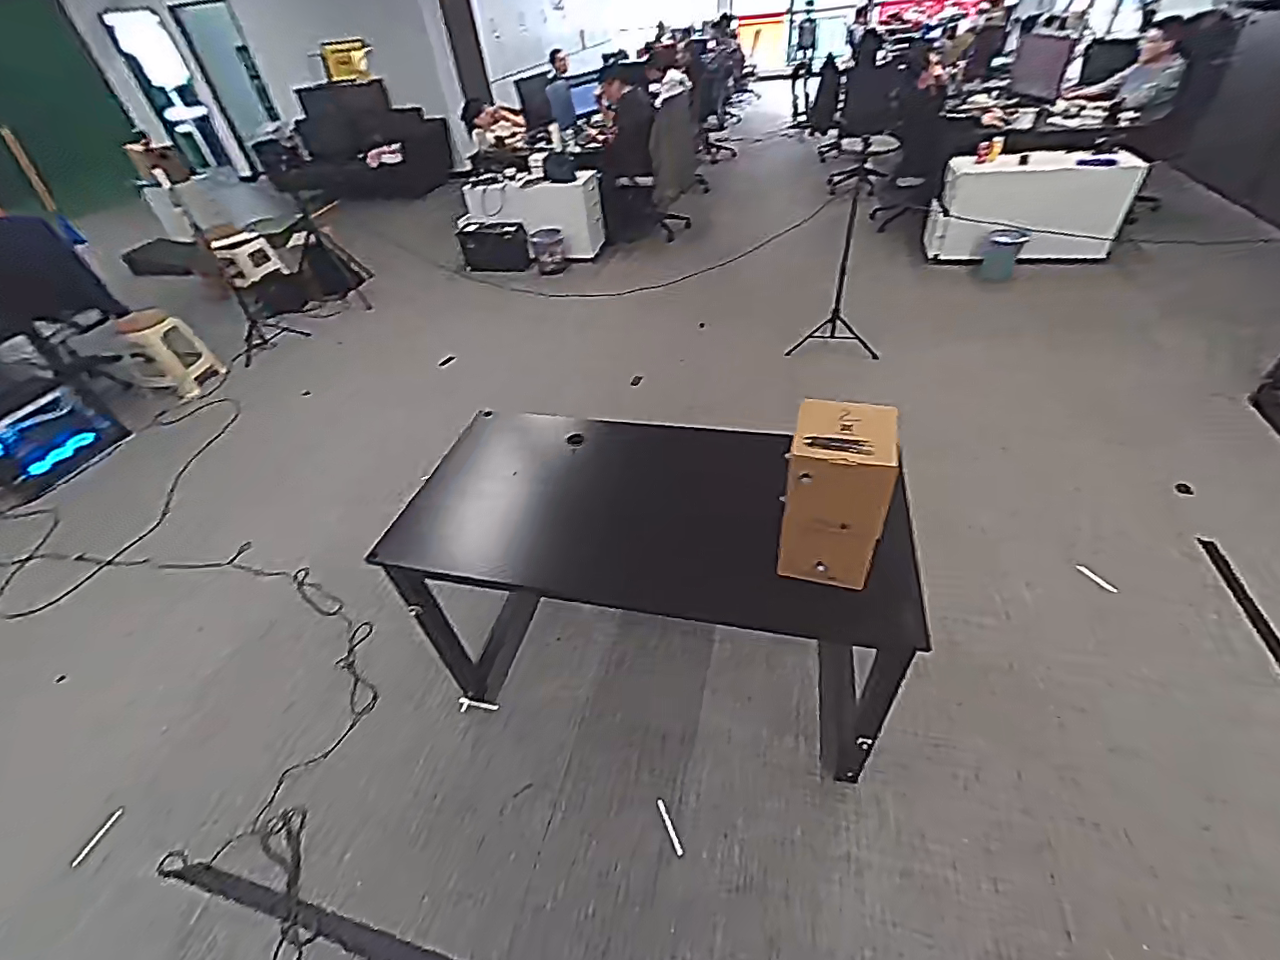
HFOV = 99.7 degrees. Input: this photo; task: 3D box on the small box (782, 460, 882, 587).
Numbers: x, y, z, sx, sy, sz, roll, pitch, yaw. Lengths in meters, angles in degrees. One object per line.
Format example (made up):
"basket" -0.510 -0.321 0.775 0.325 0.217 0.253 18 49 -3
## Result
"small box" 0.384 0.086 1.093 0.168 0.176 0.179 9 44 18
